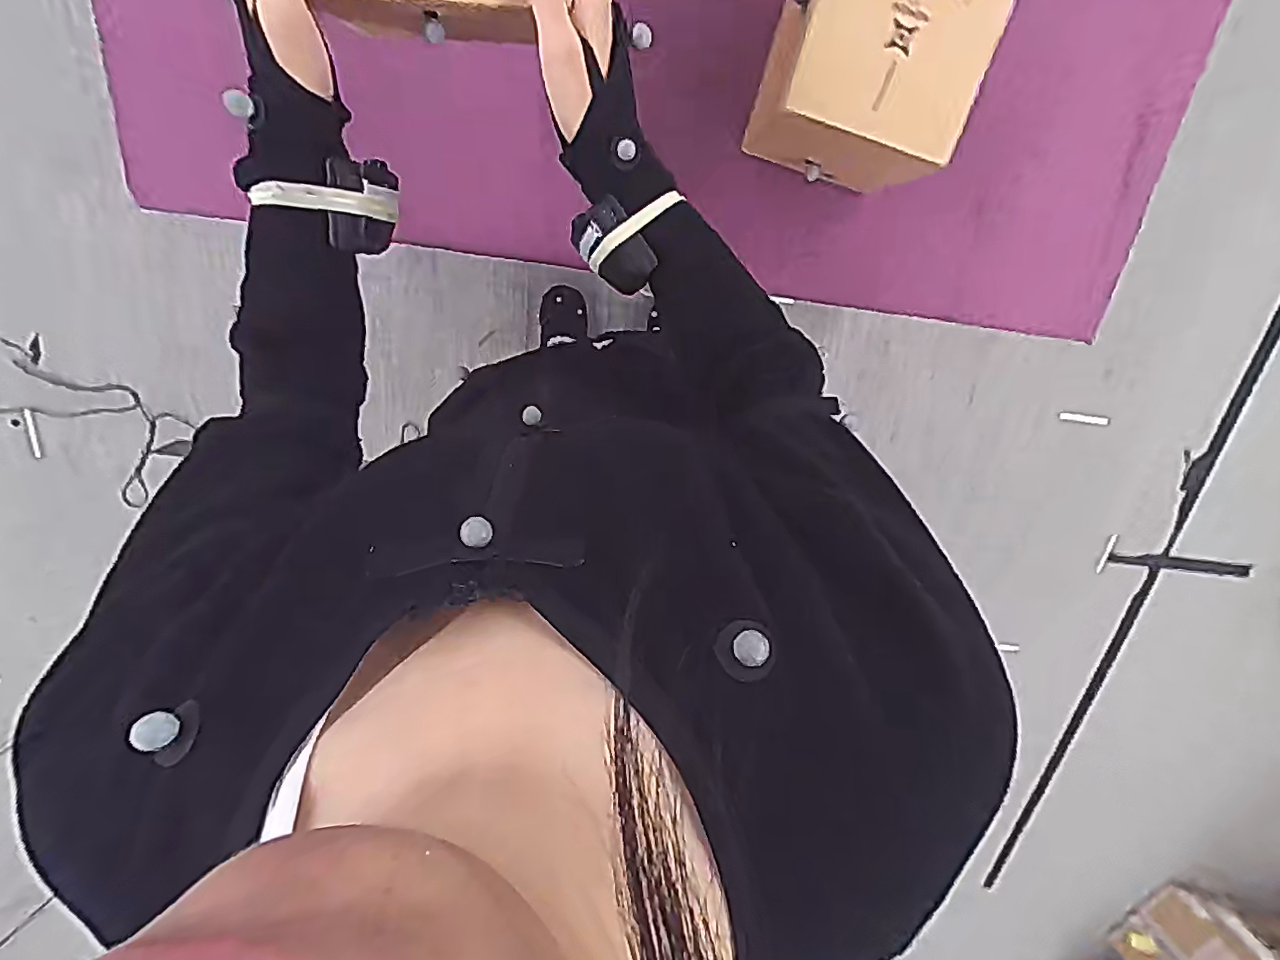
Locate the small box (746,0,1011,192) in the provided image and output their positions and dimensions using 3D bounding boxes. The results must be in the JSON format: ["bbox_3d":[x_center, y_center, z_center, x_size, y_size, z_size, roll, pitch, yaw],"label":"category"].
[{"bbox_3d":[0.222,-0.417,0.543,0.168,0.176,0.179,14,109,-8],"label":"small box"}]

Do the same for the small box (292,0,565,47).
[{"bbox_3d":[-0.143,-0.412,0.368,0.179,0.176,0.168,-2,122,-7],"label":"small box"}]
